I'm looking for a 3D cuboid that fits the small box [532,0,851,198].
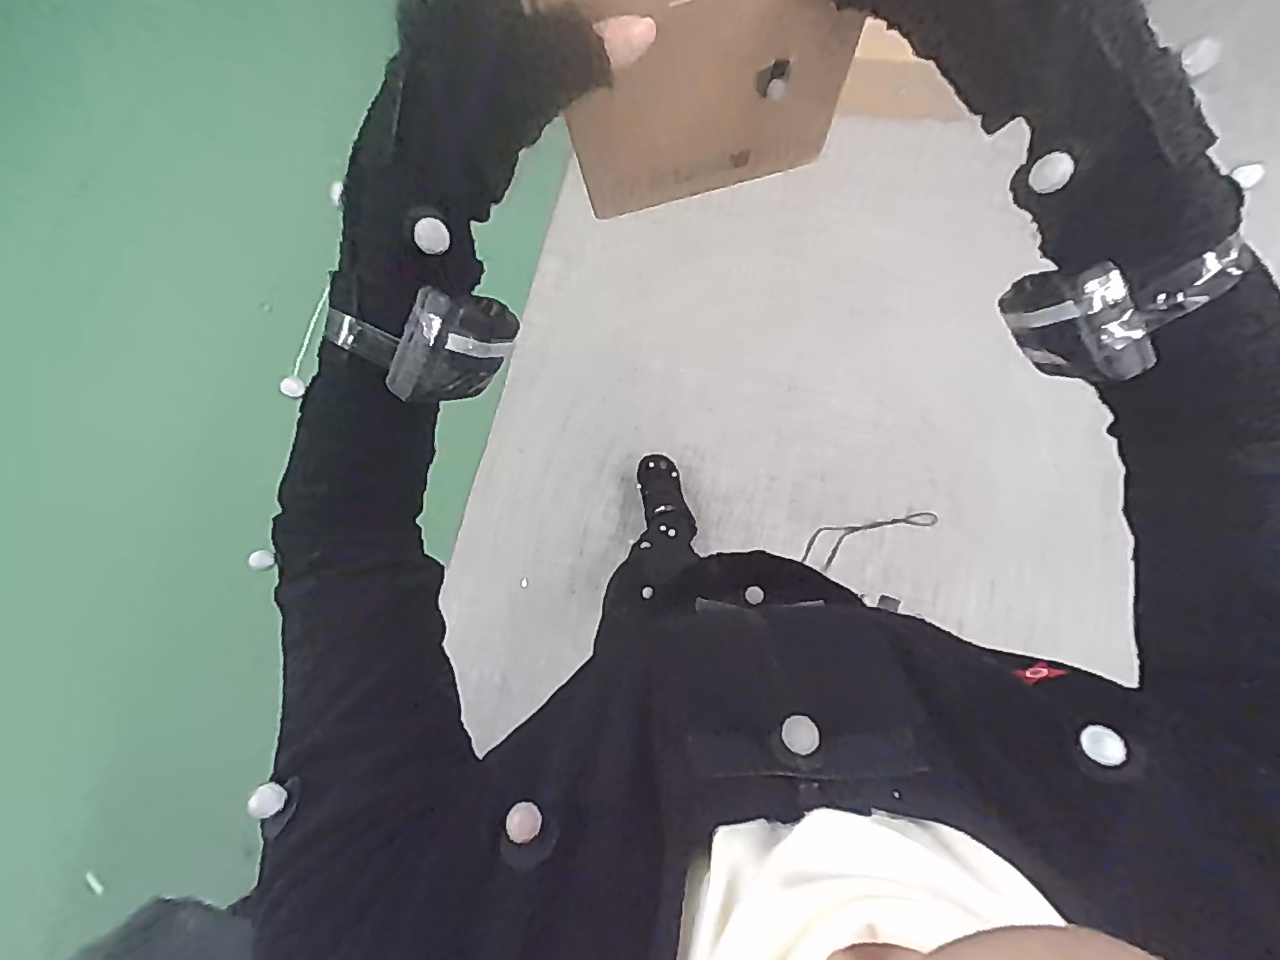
[{"bbox_3d":[0.023,-0.303,0.329,0.168,0.176,0.179,-12,83,4],"label":"small box"}]
